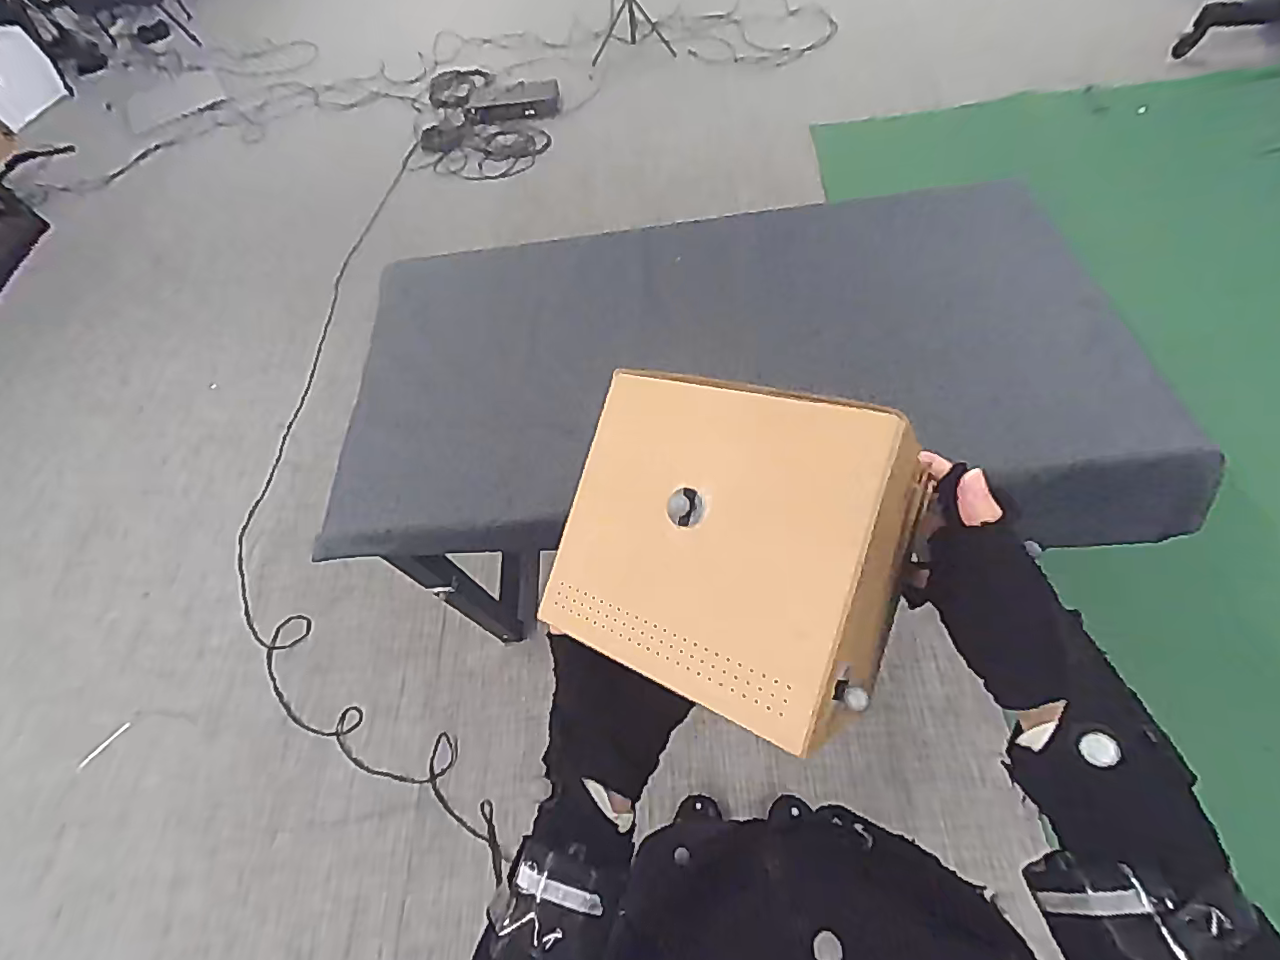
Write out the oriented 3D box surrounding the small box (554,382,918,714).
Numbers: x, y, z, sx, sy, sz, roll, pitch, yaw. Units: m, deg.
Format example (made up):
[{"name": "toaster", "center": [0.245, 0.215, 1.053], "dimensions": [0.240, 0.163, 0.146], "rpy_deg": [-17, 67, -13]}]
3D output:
[{"name": "small box", "center": [0.071, 0.047, 0.377], "dimensions": [0.179, 0.168, 0.176], "rpy_deg": [15, 87, 33]}]
